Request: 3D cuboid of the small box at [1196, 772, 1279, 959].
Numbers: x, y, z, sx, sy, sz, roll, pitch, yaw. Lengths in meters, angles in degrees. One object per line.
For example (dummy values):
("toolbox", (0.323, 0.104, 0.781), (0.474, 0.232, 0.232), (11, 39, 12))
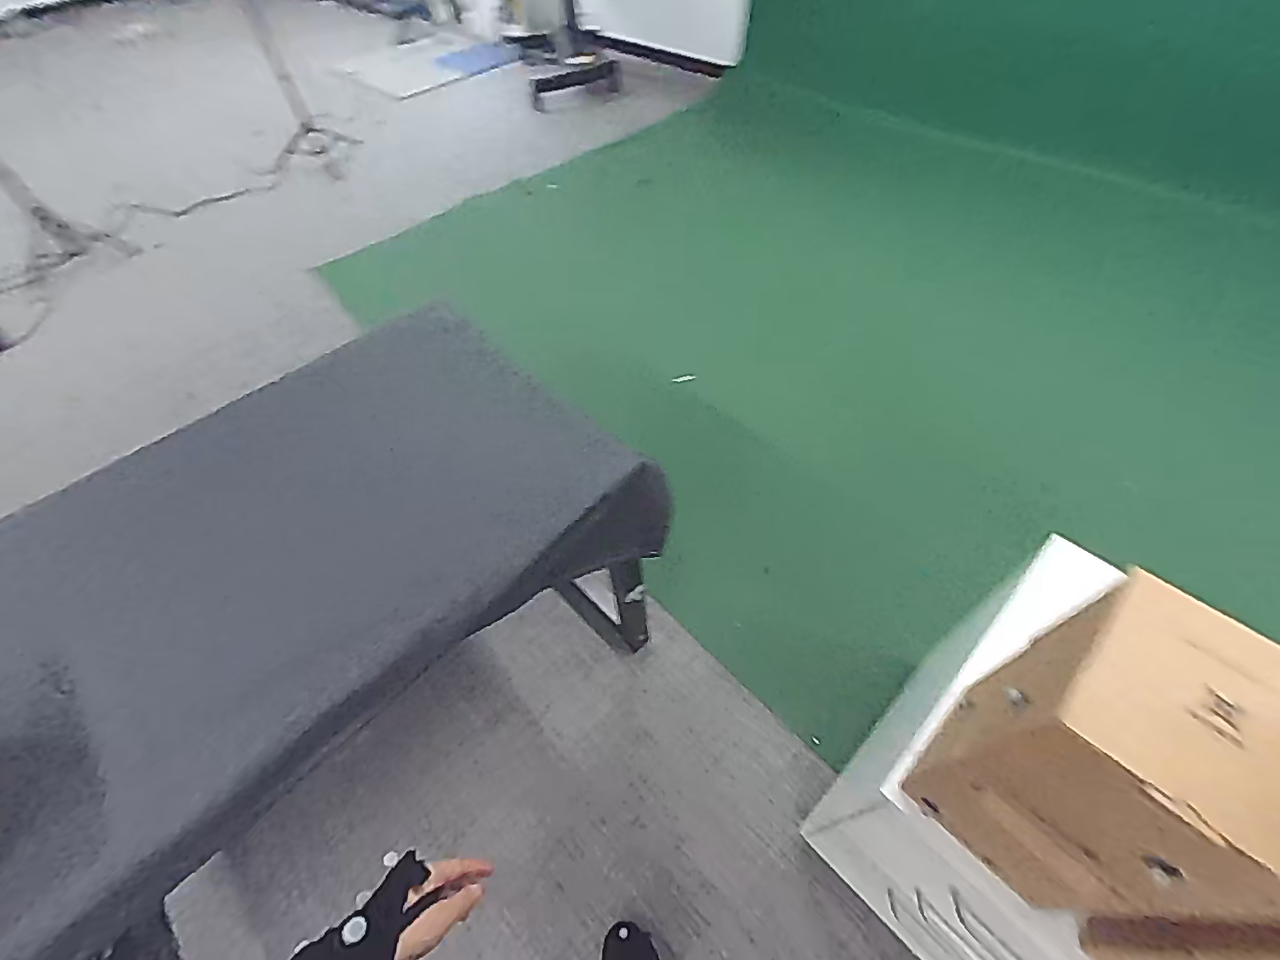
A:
("small box", (0.547, 0.323, 0.368), (0.168, 0.176, 0.179), (36, 62, 26))
